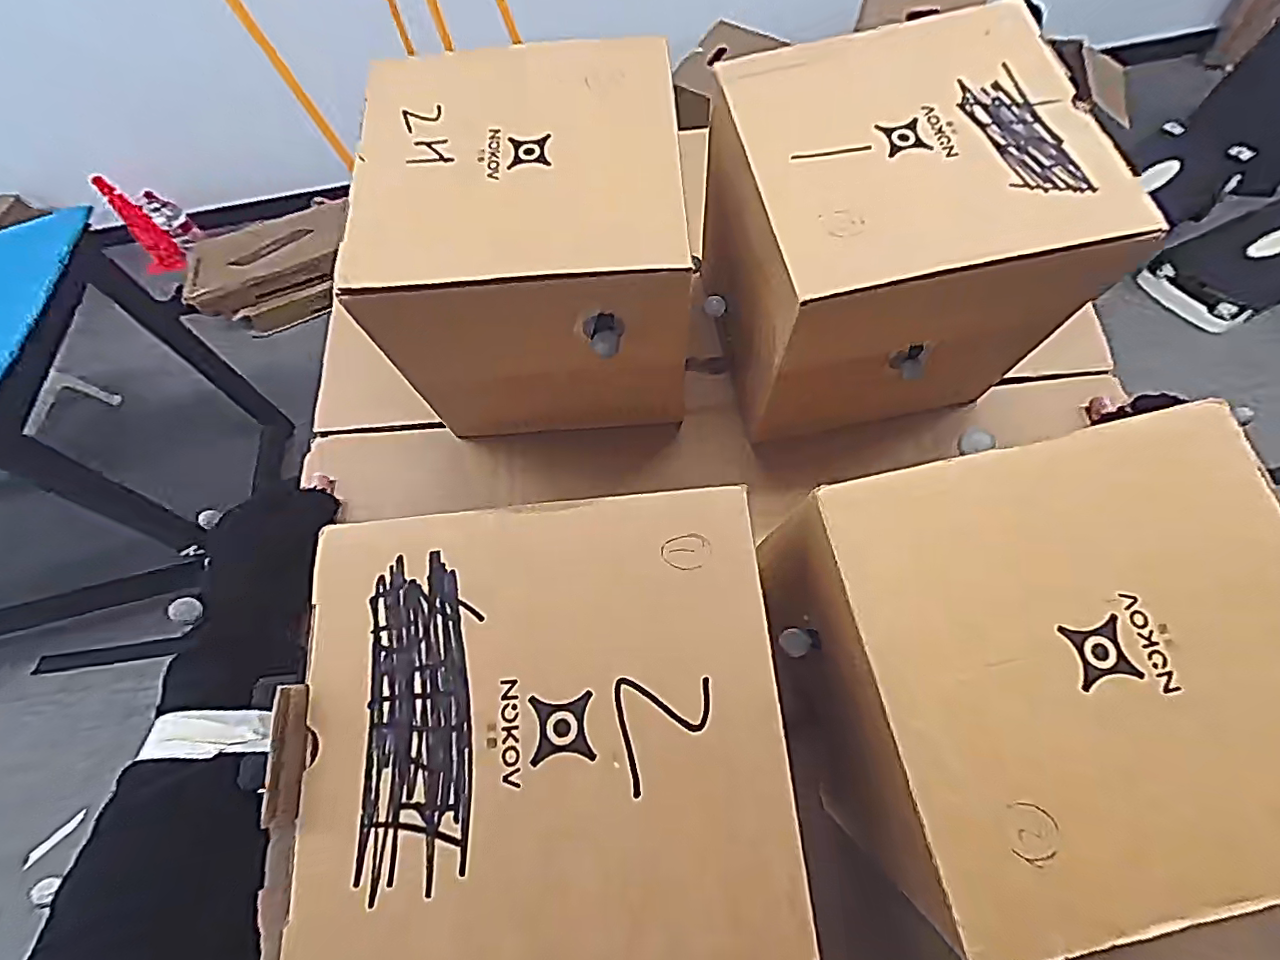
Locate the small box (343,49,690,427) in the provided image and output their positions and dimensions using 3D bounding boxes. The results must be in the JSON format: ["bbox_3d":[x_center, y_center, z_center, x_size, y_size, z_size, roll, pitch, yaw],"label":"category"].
[{"bbox_3d":[-0.061,-0.146,0.370,0.179,0.176,0.168,-3,70,2],"label":"small box"}]
